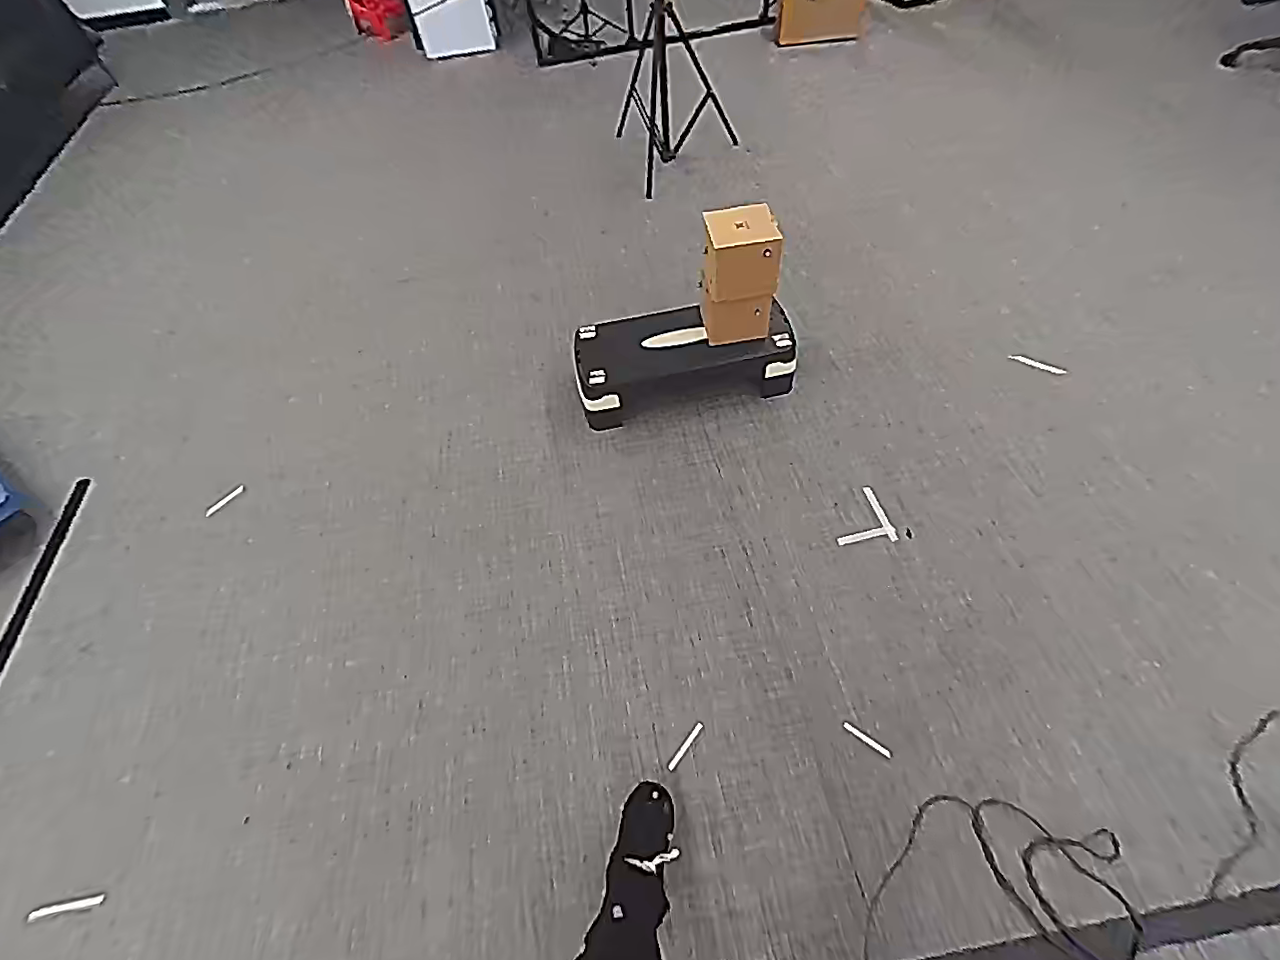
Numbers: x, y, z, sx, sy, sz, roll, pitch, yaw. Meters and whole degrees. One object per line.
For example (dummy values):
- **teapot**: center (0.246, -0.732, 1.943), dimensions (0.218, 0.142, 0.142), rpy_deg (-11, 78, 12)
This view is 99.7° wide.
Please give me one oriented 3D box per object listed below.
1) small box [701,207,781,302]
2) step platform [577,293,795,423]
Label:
- **small box**: center (0.264, -0.601, 1.455), dimensions (0.179, 0.176, 0.168), rpy_deg (-9, 57, 0)
- **step platform**: center (0.142, -0.404, 1.743), dimensions (0.684, 0.204, 0.286), rpy_deg (-12, 56, -1)
